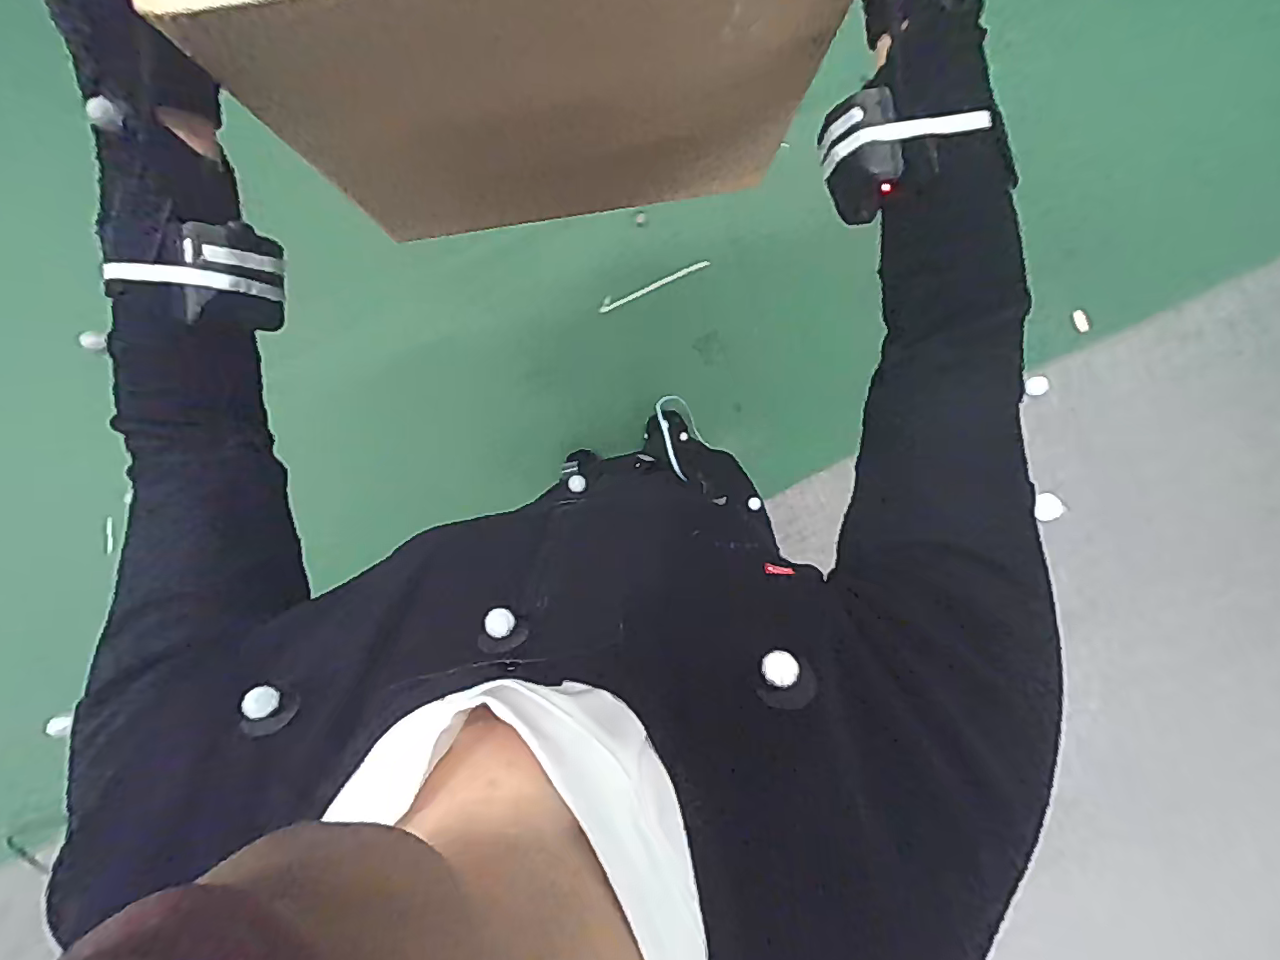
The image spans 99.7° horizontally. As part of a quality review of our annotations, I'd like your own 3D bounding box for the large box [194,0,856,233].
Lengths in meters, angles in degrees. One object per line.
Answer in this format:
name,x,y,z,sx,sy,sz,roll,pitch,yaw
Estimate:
large box,-0.076,-0.438,0.432,0.408,0.320,0.320,-9,94,-2
